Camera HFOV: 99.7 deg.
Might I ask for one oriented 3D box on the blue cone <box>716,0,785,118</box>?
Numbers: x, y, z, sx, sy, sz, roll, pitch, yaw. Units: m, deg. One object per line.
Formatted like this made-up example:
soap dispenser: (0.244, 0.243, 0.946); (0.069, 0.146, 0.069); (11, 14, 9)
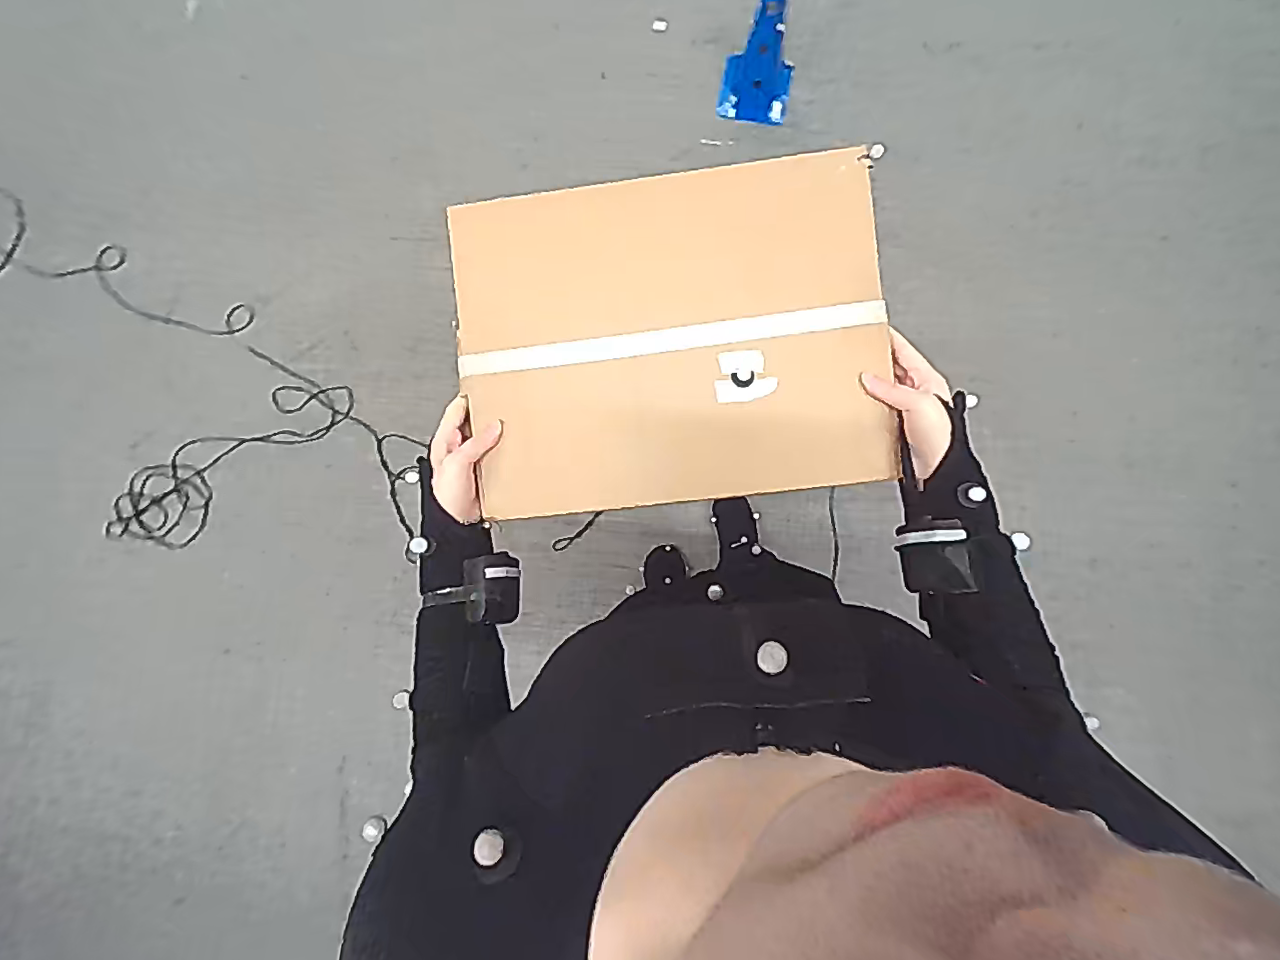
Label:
blue cone: (0.322, -1.185, 1.442); (0.193, 0.380, 0.192); (12, 86, 3)

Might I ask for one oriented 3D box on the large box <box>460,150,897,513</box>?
large box: (0.039, -0.141, 0.672); (0.408, 0.320, 0.320); (-6, 91, 3)
